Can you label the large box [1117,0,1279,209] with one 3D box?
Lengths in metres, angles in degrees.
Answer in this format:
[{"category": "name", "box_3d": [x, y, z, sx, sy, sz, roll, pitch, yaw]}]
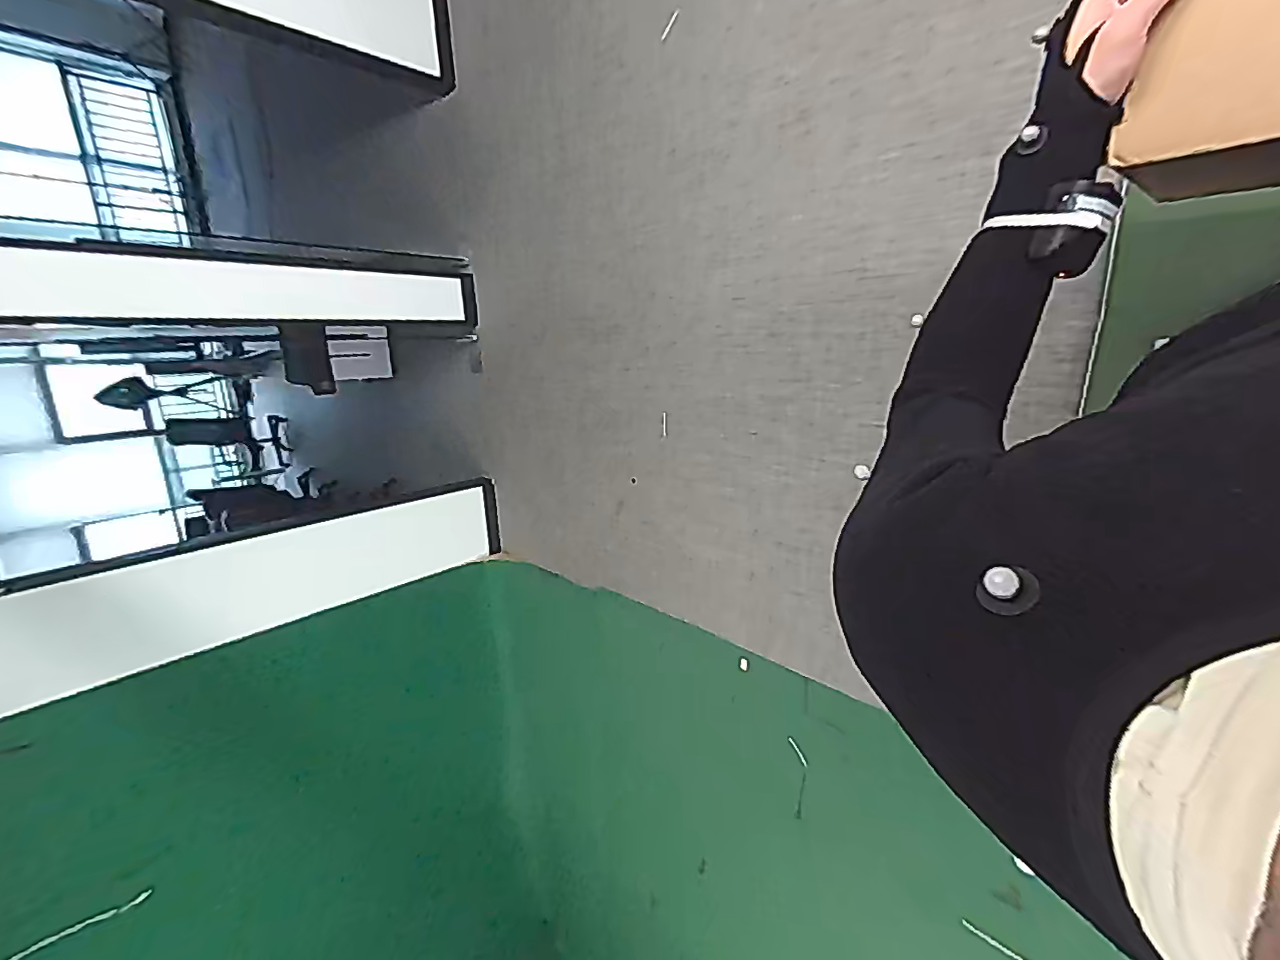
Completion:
[{"category": "large box", "box_3d": [0.622, -0.406, 0.364, 0.408, 0.320, 0.320, 12, 113, 45]}]
